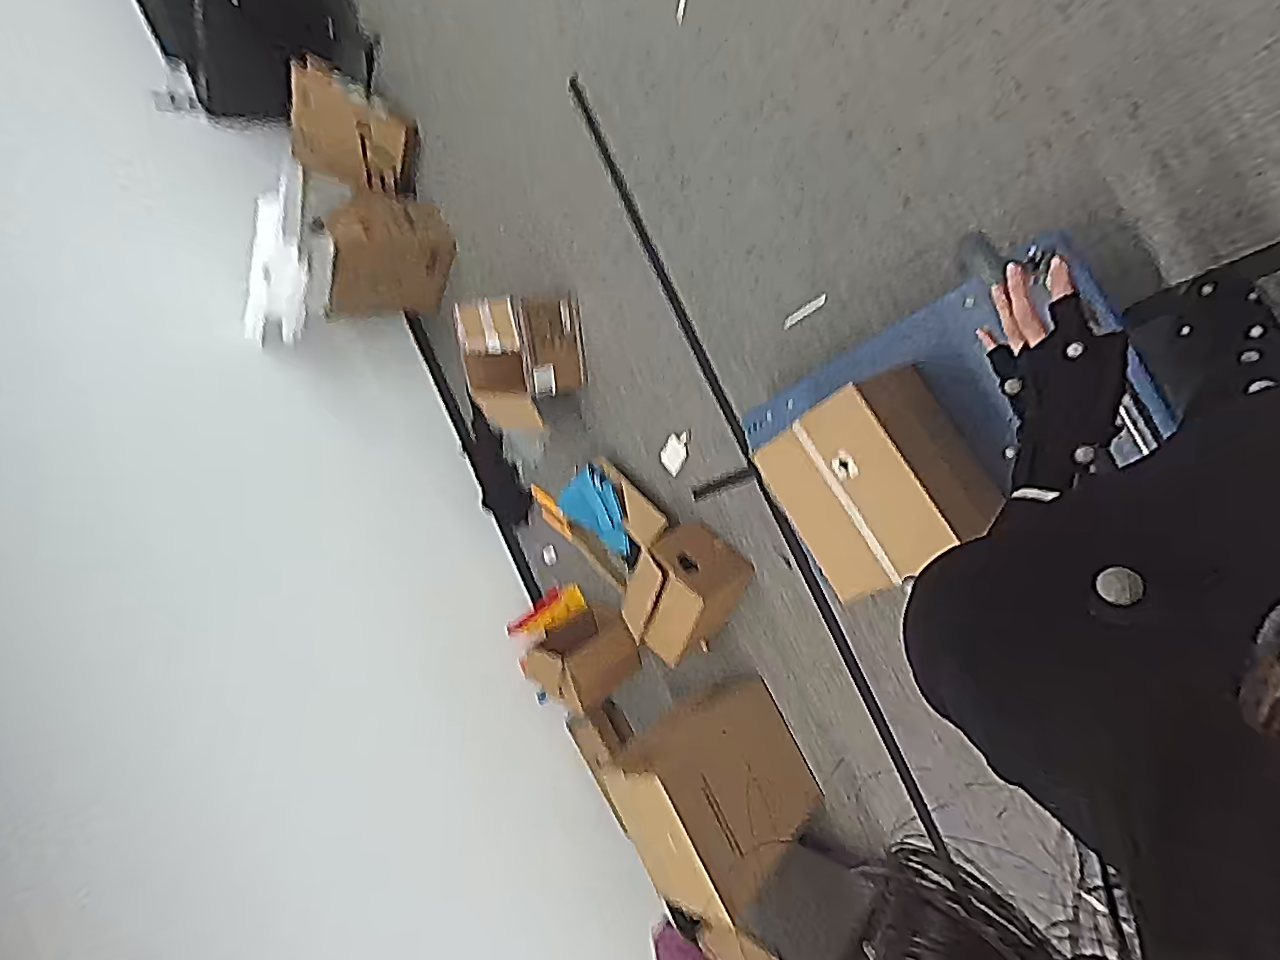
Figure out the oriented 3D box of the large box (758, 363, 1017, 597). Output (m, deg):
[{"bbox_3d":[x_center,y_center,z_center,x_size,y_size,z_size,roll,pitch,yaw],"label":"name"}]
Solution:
[{"bbox_3d":[0.565,-0.004,1.255,0.320,0.320,0.408,-43,73,47],"label":"large box"}]
